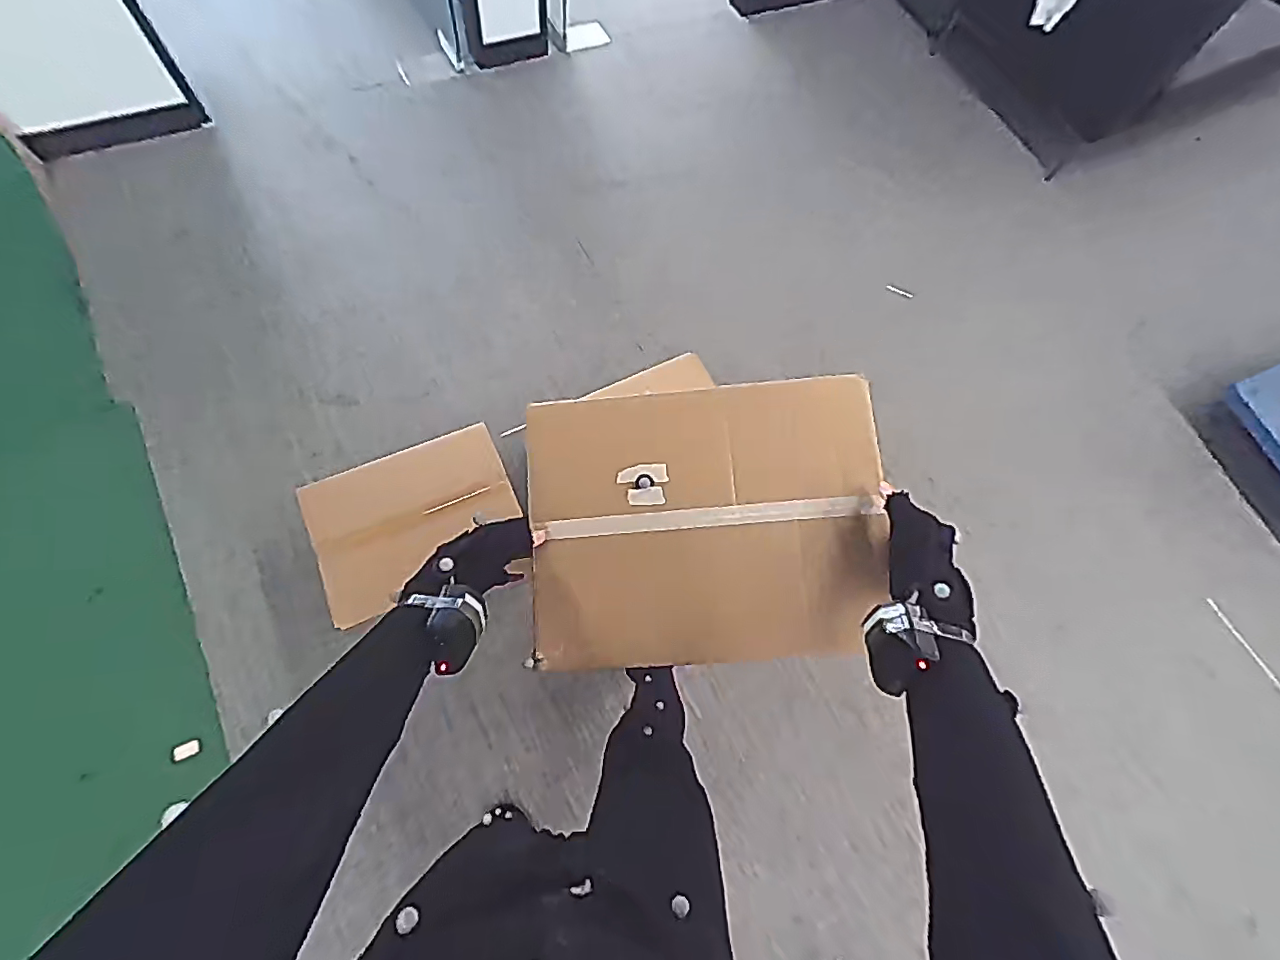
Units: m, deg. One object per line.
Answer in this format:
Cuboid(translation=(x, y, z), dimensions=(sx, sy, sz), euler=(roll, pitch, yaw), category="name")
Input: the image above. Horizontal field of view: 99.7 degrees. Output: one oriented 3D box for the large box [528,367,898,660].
Cuboid(translation=(0.086, 0.061, 0.768), dimensions=(0.408, 0.320, 0.320), euler=(-5, 78, 5), category="large box")
